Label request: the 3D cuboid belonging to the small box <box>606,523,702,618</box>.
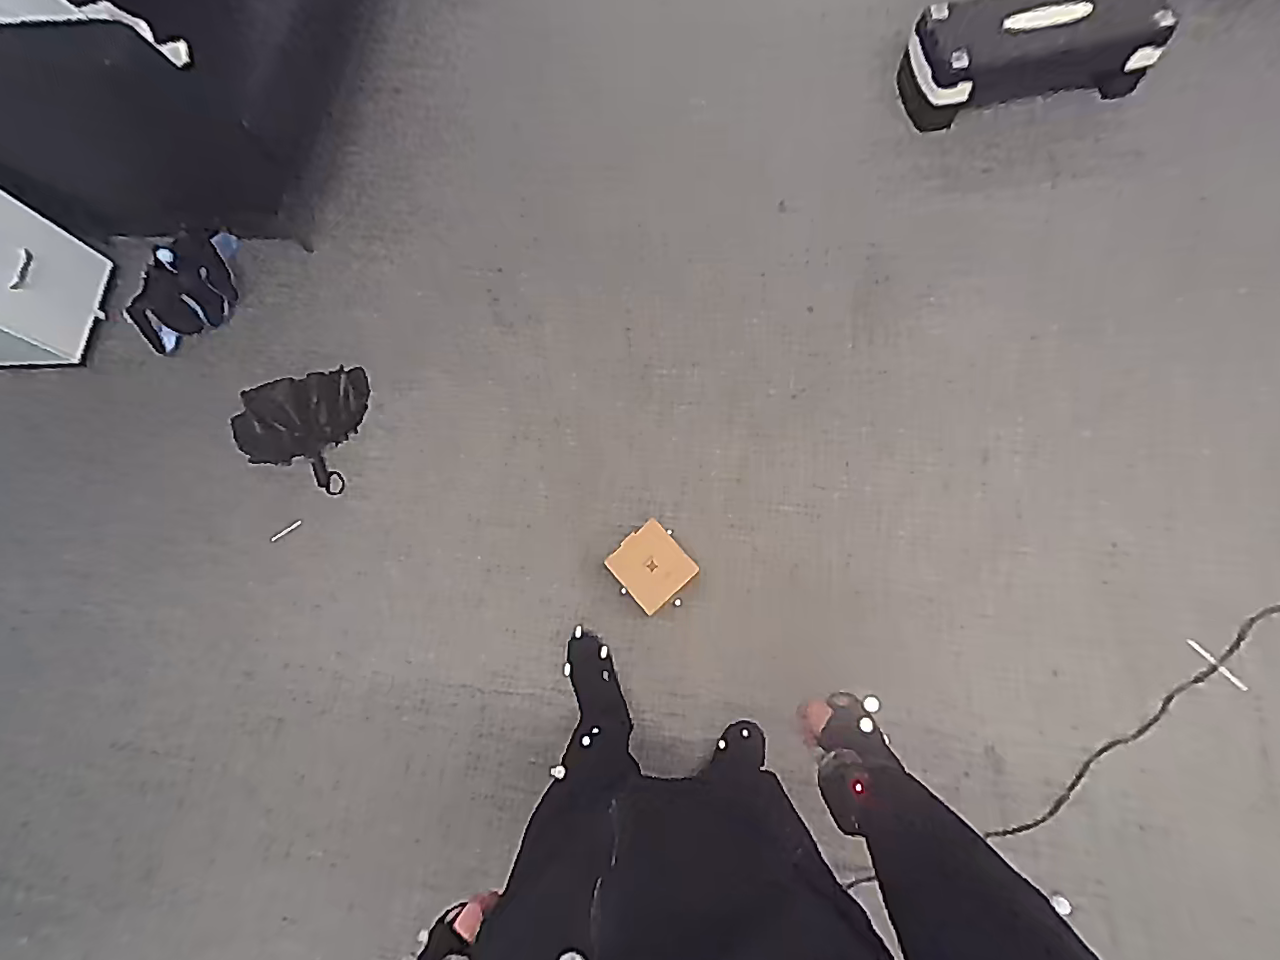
[{"bbox_3d":[0.040,0.238,1.377,0.168,0.176,0.179,-43,74,-5],"label":"small box"}]
